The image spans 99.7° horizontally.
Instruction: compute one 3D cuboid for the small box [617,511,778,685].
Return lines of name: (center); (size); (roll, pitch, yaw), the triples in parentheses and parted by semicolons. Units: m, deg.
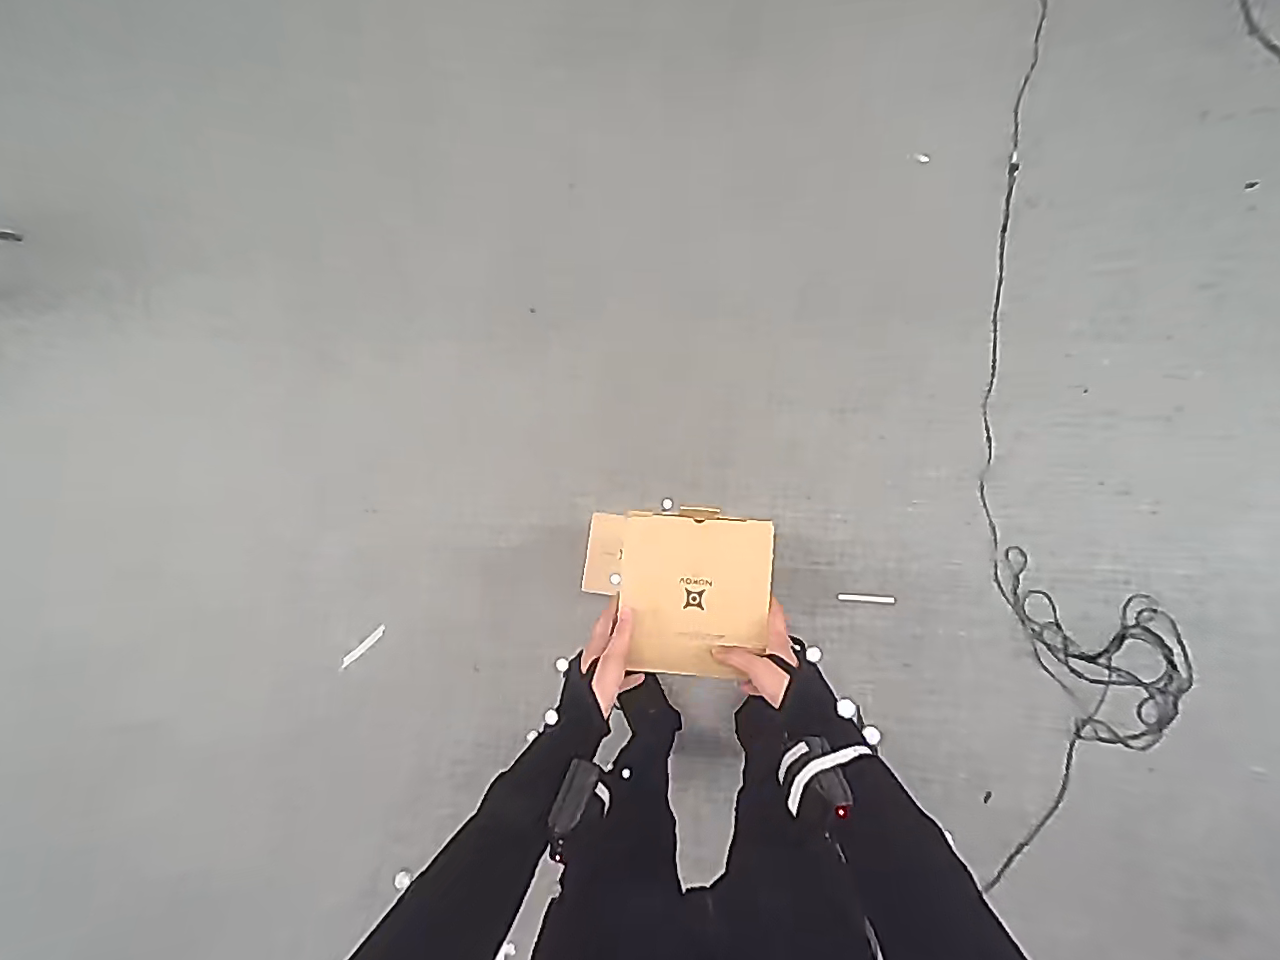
small box: (0.065, 0.131, 0.666); (0.168, 0.176, 0.179); (5, 88, 3)
